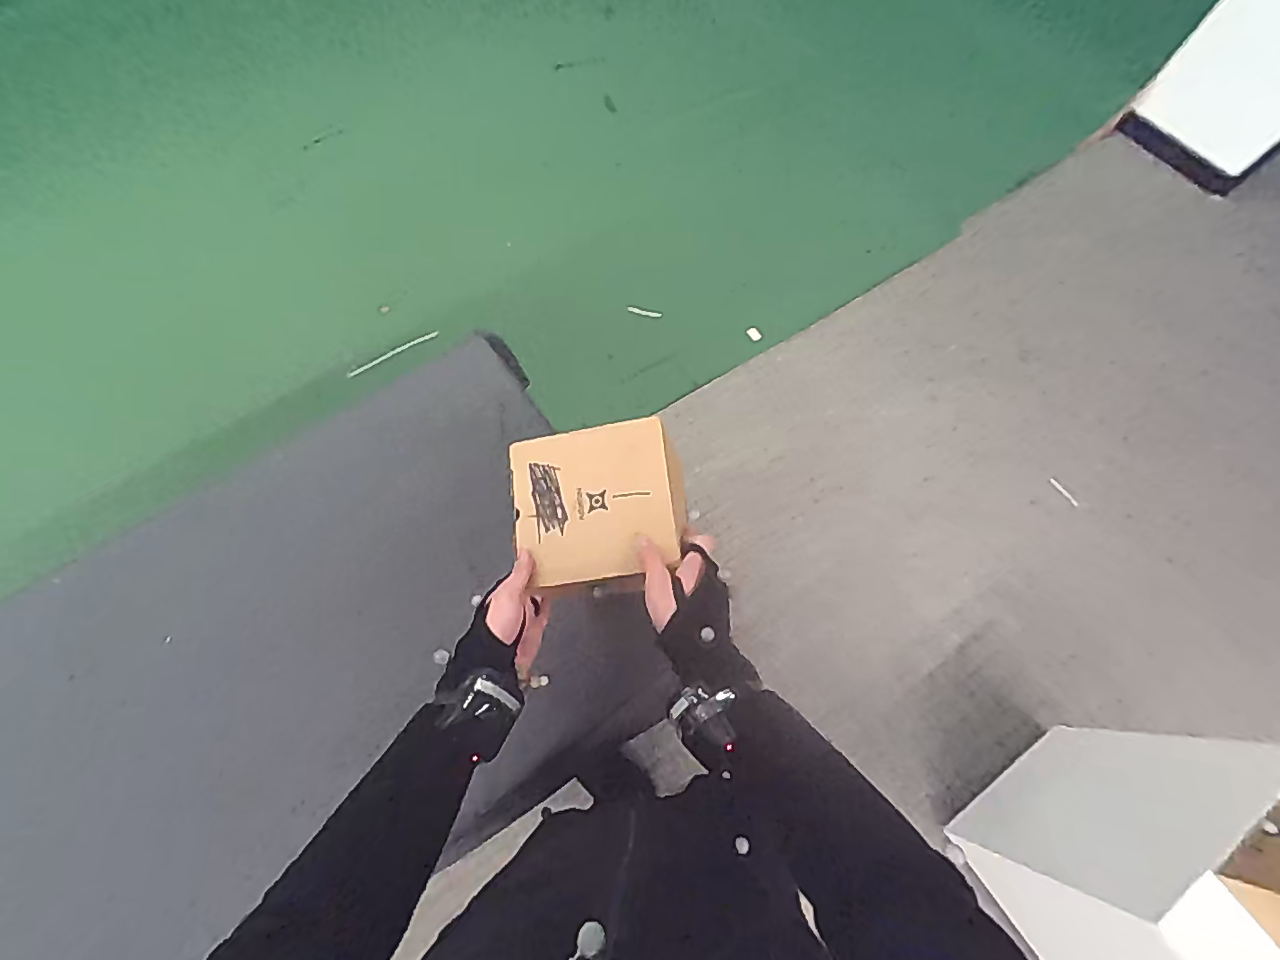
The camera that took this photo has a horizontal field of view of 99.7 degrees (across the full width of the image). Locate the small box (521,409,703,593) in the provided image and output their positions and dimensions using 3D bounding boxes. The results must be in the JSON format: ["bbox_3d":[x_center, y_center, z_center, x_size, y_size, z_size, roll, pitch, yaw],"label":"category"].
[{"bbox_3d":[-0.025,0.036,0.630,0.179,0.176,0.168,-8,73,6],"label":"small box"}]
